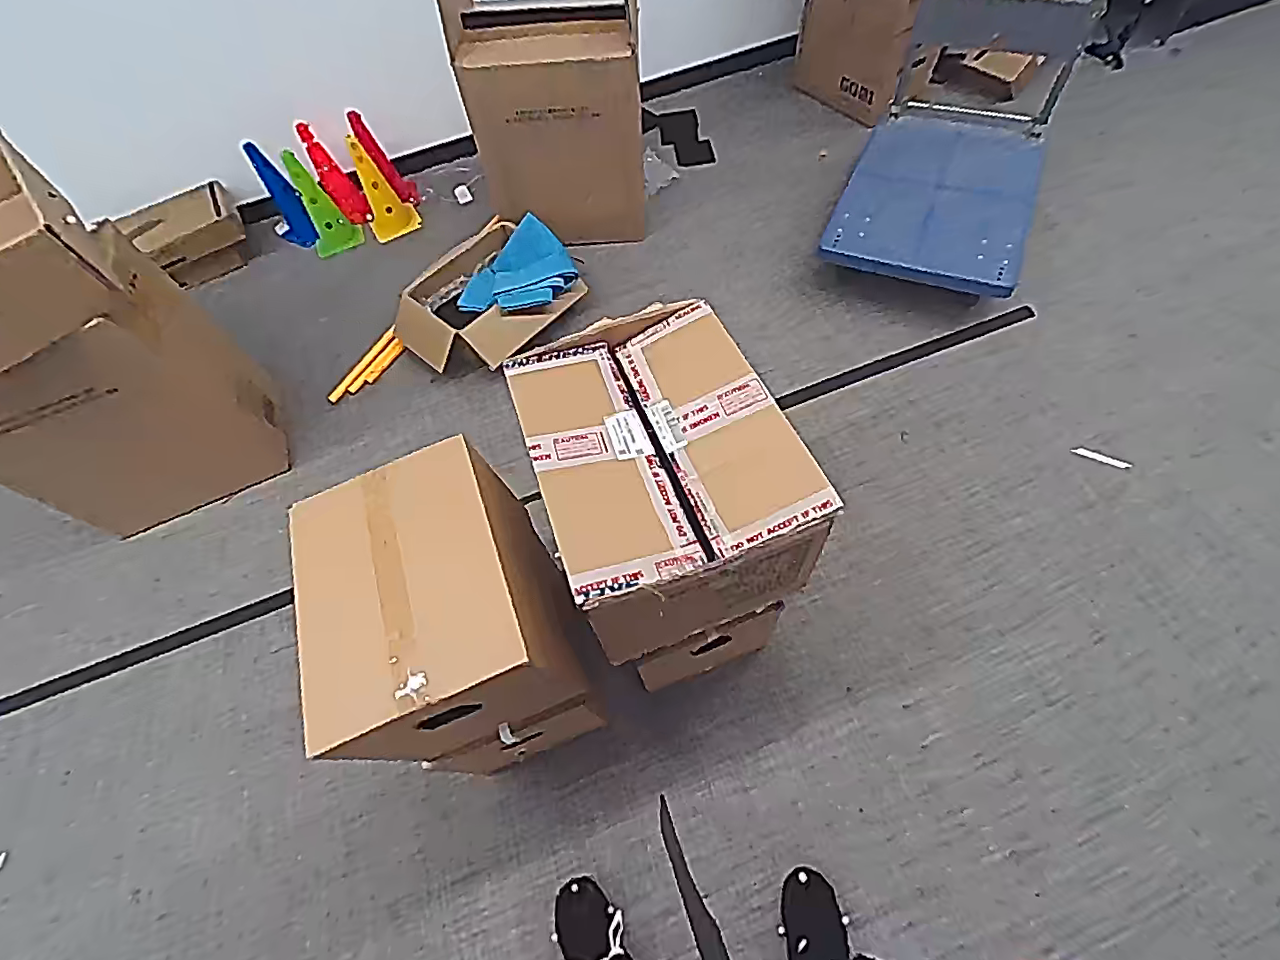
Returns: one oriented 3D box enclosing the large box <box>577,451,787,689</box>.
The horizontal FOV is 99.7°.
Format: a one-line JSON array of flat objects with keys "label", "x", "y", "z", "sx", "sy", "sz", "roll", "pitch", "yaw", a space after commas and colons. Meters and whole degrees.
[{"label": "large box", "x": 0.083, "y": 0.212, "z": 1.255, "sx": 0.320, "sy": 0.320, "sz": 0.408, "roll": -21, "pitch": 60, "yaw": -6}]
